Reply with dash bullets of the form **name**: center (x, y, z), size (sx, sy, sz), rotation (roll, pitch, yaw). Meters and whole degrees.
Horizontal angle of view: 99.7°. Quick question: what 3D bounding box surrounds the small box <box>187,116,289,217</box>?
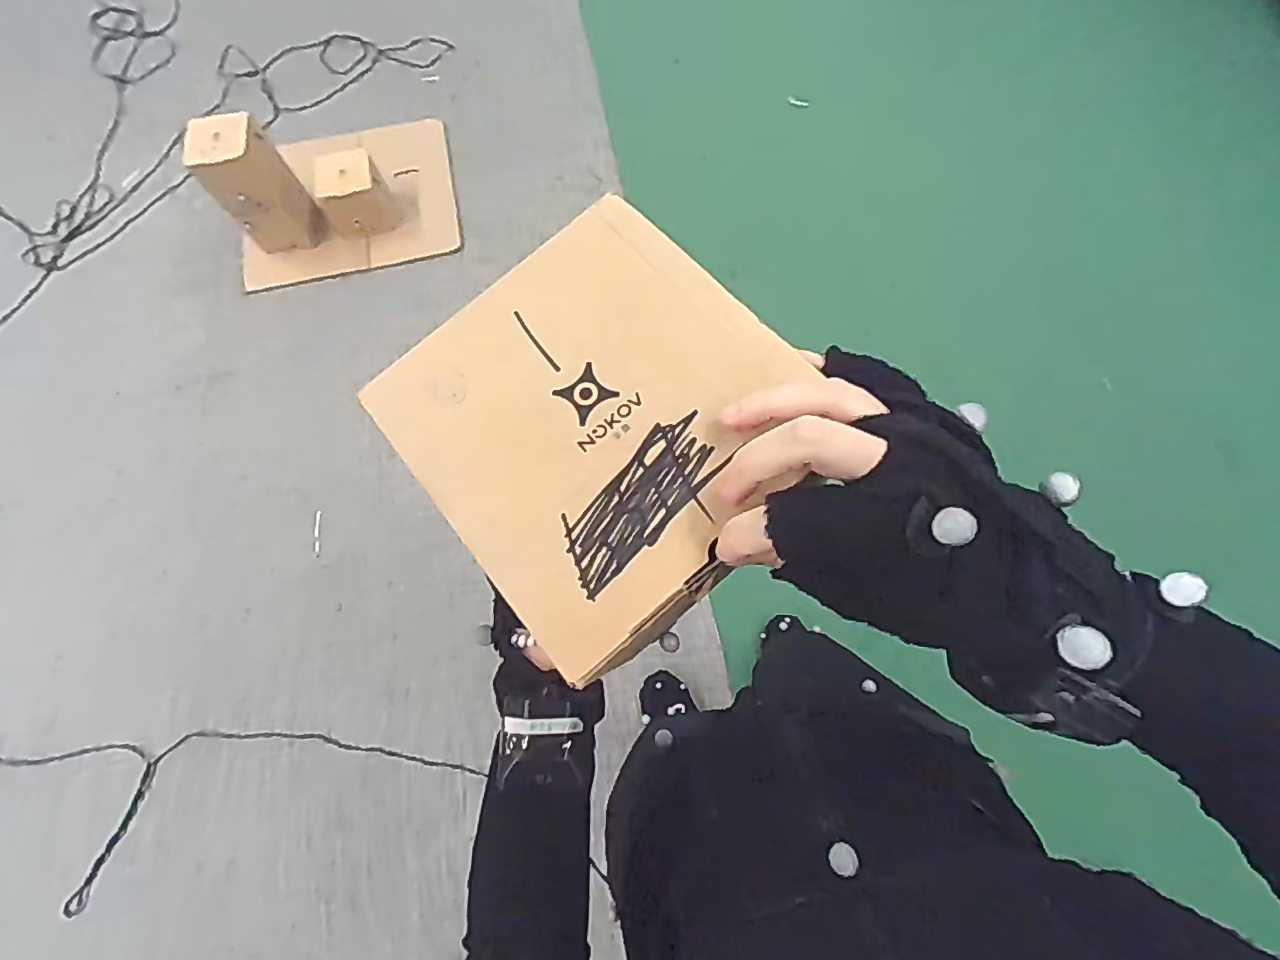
- **small box**: center (-1.138, -0.892, 1.545), size (0.168, 0.176, 0.179), rotation (-10, 71, -1)

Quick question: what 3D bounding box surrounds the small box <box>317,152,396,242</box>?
- **small box**: center (-0.896, -0.896, 1.719), size (0.168, 0.176, 0.179), rotation (-14, 72, -4)

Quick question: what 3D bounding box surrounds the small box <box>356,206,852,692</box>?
- **small box**: center (-0.014, -0.007, 0.322), size (0.168, 0.176, 0.179), rotation (-41, 73, -5)
